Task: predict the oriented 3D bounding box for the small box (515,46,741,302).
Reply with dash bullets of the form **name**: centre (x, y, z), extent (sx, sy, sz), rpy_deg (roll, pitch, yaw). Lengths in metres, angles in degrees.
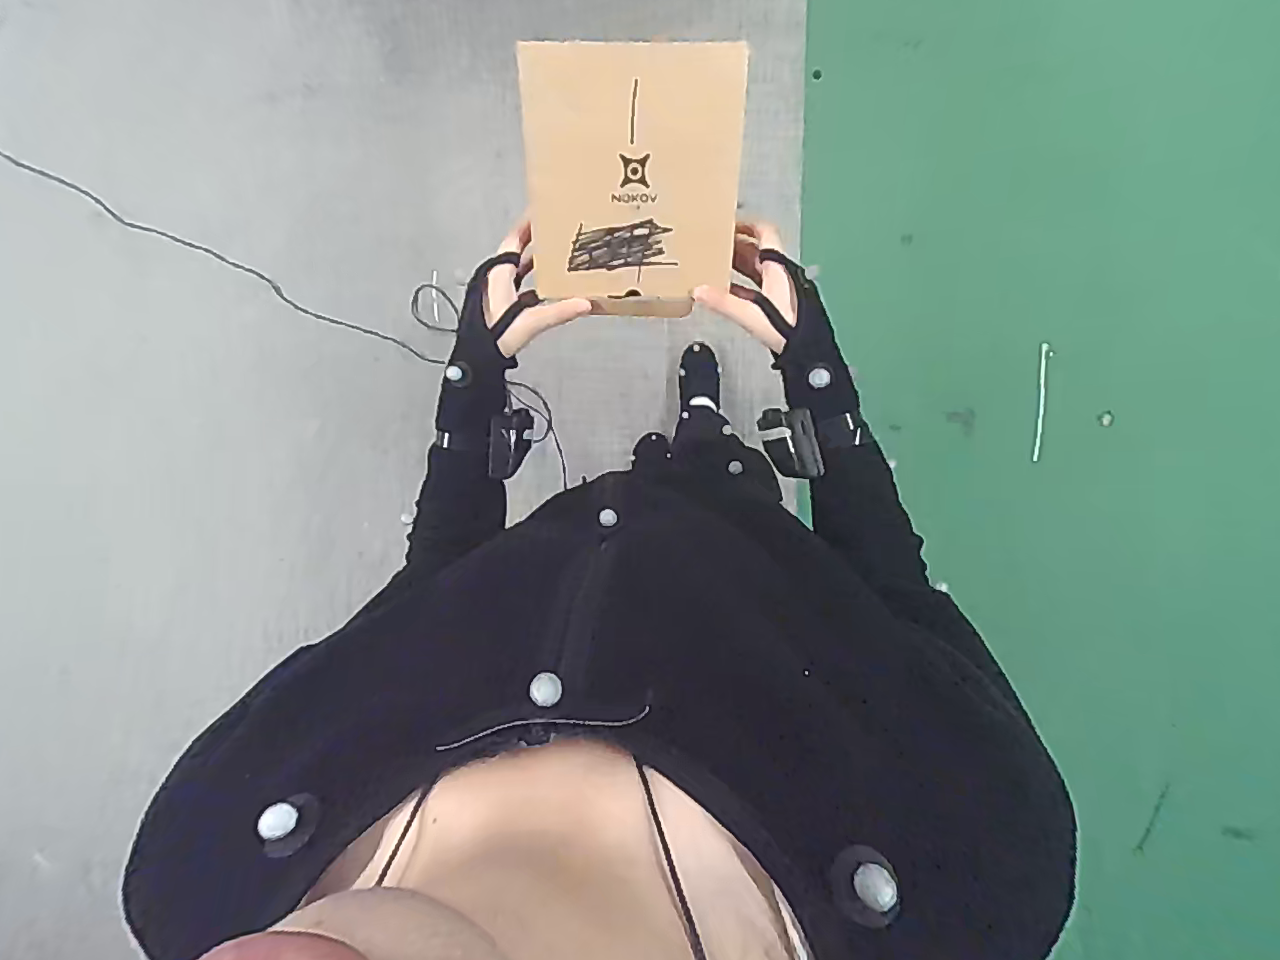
- **small box**: centre (-0.009, -0.270, 0.495), extent (0.168, 0.176, 0.179), rpy_deg (0, 118, 0)
